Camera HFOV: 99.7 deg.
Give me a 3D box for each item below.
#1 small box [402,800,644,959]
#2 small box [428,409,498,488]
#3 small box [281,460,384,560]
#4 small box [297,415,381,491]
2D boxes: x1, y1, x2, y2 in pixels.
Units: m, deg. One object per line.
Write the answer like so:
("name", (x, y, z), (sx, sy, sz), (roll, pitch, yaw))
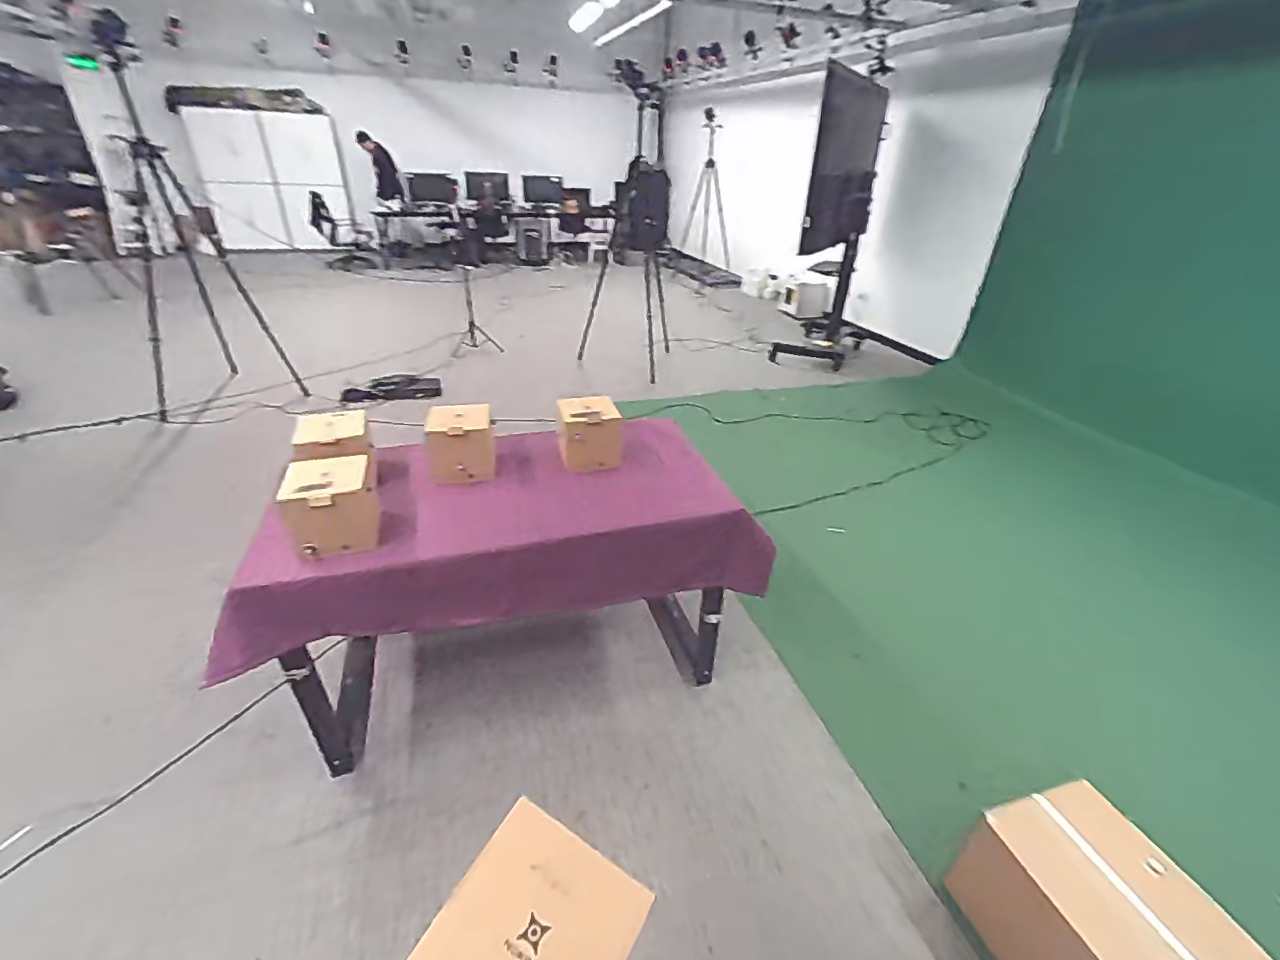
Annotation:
("small box", (-0.115, 0.474, 0.537), (0.168, 0.176, 0.179), (26, 43, 17))
("small box", (-0.505, -0.094, 1.566), (0.168, 0.176, 0.179), (-4, 32, -10))
("small box", (-0.712, 0.074, 1.273), (0.168, 0.176, 0.179), (-8, 31, -17))
("small box", (-0.821, -0.060, 1.492), (0.168, 0.176, 0.179), (-9, 34, -20))
